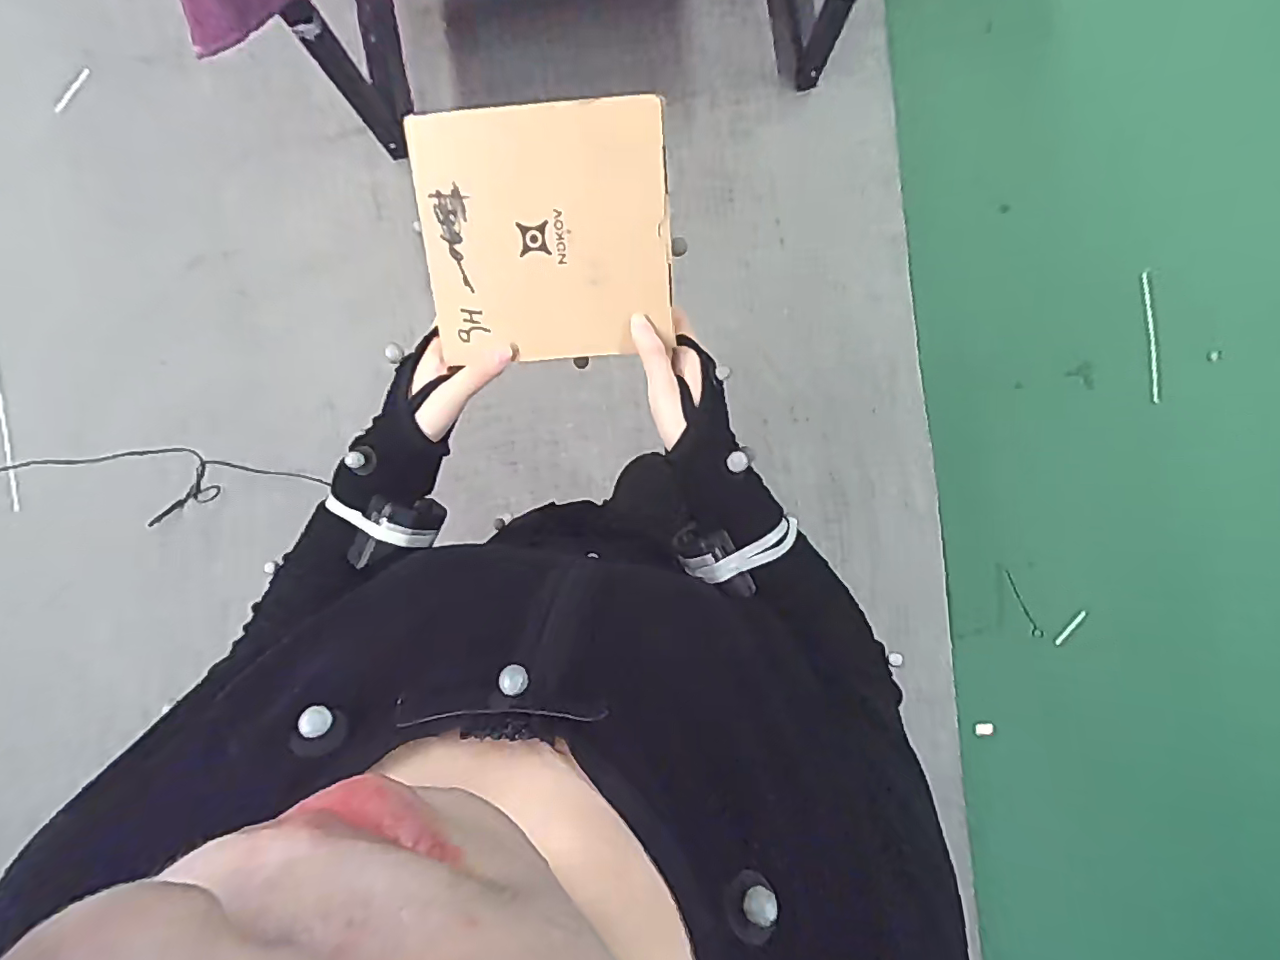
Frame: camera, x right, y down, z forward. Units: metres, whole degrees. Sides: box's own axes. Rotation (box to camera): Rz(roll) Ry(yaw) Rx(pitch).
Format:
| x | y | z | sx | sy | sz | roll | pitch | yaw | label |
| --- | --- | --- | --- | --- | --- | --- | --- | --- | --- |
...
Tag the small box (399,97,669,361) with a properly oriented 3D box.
| x | y | z | sx | sy | sz | roll | pitch | yaw | label |
| --- | --- | --- | --- | --- | --- | --- | --- | --- | --- |
| -0.071 | -0.194 | 0.456 | 0.179 | 0.176 | 0.168 | -3 | 105 | 1 | small box |
